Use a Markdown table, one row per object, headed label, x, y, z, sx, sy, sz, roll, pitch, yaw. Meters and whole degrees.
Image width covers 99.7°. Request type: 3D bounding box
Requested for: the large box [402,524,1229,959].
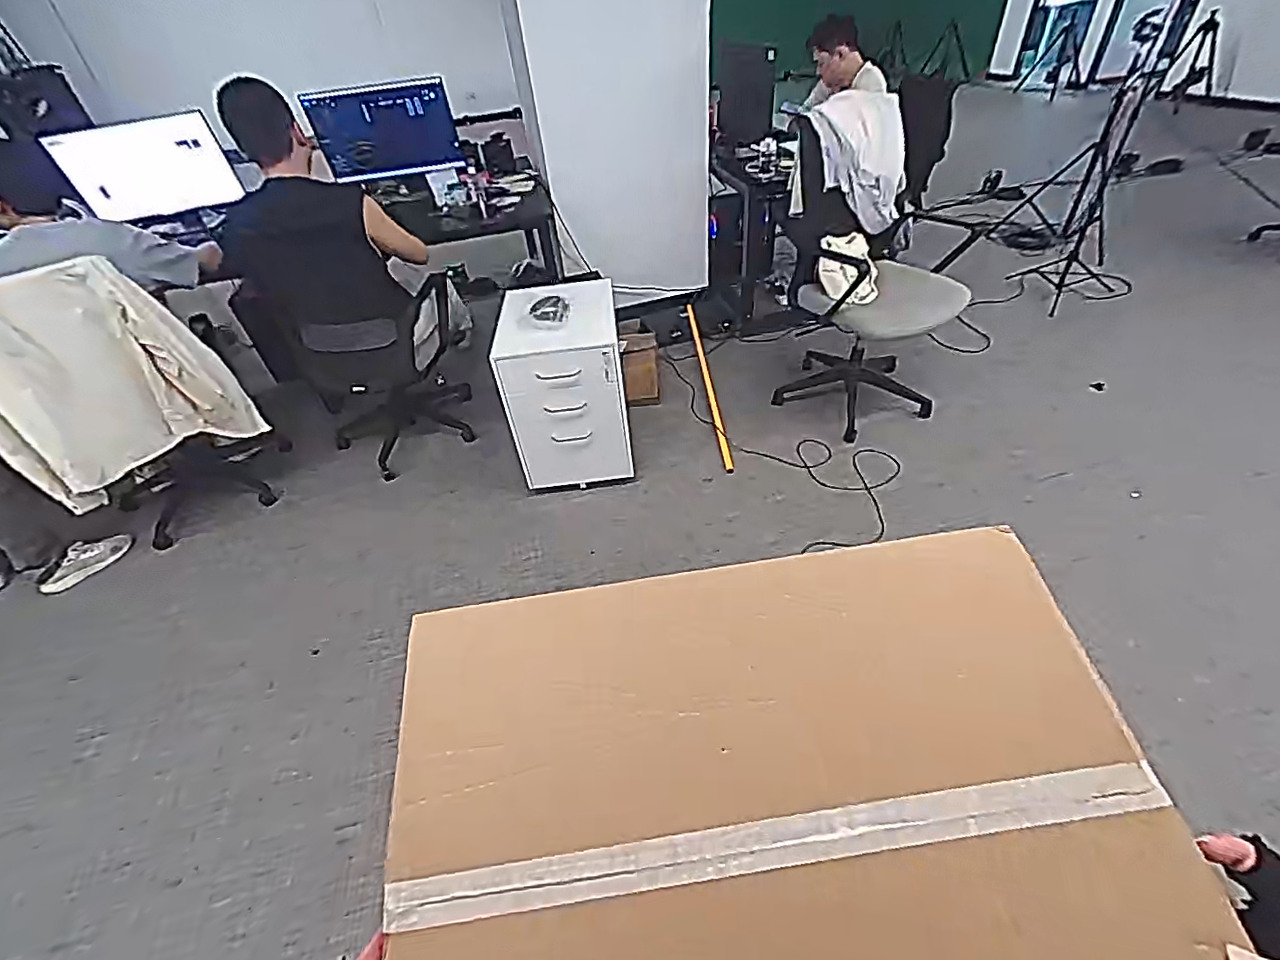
| label | x | y | z | sx | sy | sz | roll | pitch | yaw |
| --- | --- | --- | --- | --- | --- | --- | --- | --- | --- |
| large box | 0.079 | 0.270 | 0.421 | 0.408 | 0.320 | 0.320 | -9 | 58 | -1 |
